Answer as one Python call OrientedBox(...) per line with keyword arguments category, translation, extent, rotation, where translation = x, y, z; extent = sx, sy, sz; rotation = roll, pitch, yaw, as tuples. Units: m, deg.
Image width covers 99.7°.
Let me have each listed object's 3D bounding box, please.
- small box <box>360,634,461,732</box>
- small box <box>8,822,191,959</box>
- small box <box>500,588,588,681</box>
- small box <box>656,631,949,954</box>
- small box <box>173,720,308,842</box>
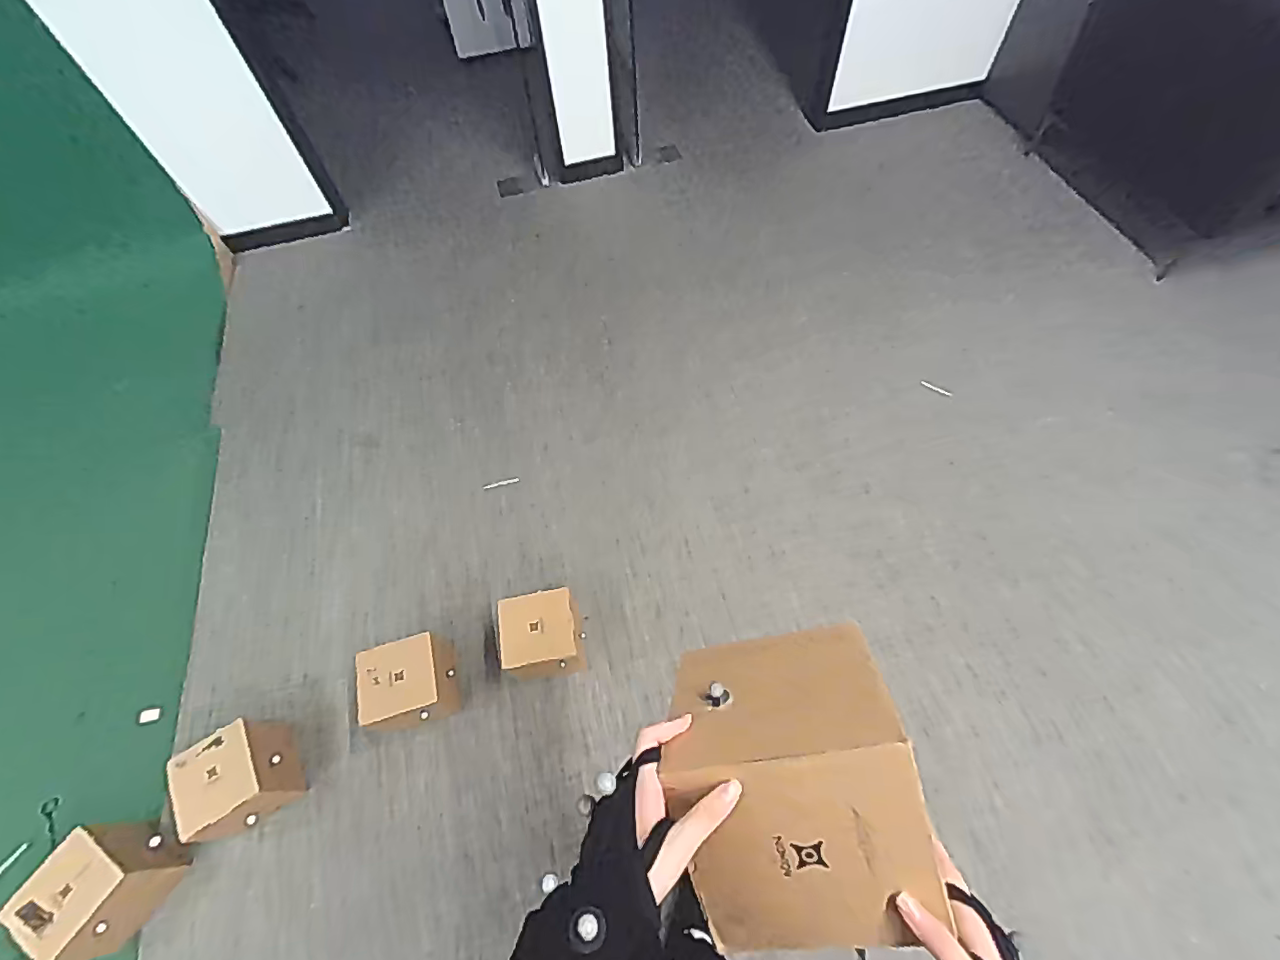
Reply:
OrientedBox(category="small box", translation=(-0.541, 0.489, 1.294), extent=(0.179, 0.176, 0.168), rotation=(-16, 60, -6))
OrientedBox(category="small box", translation=(-1.110, 0.849, 1.127), extent=(0.168, 0.176, 0.179), rotation=(26, 64, 17))
OrientedBox(category="small box", translation=(-0.234, 0.387, 1.336), extent=(0.179, 0.176, 0.168), rotation=(-11, 60, -3))
OrientedBox(category="small box", translation=(0.129, 0.250, 0.461), extent=(0.179, 0.176, 0.168), rotation=(-14, 100, 14))
OrientedBox(category="small box", translation=(-0.888, 0.669, 1.215), extent=(0.168, 0.176, 0.179), rotation=(-31, 64, -13))
